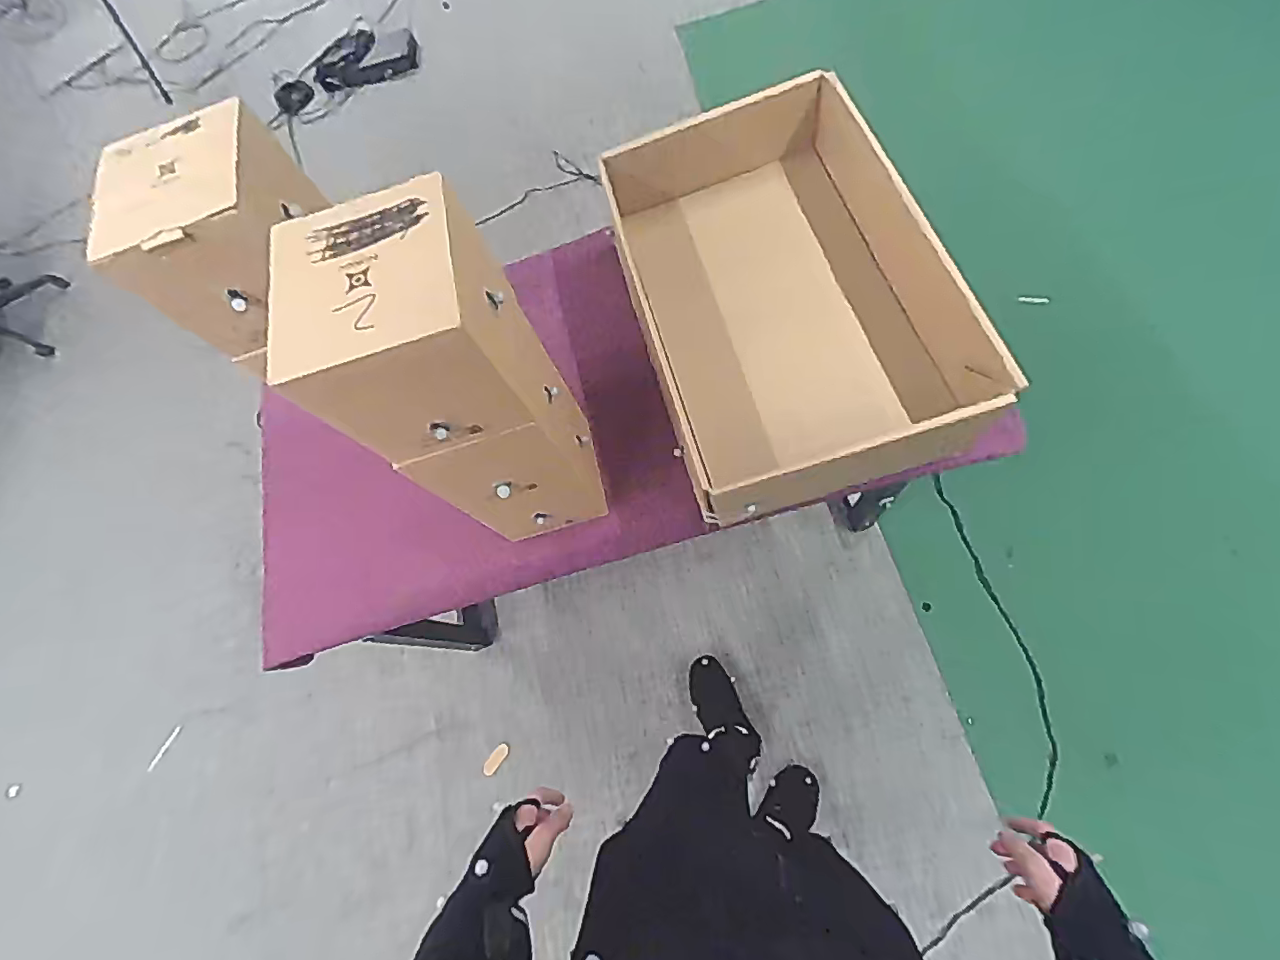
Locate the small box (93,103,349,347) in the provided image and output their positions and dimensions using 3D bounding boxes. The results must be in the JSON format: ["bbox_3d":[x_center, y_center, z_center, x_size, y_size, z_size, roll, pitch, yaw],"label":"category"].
[{"bbox_3d":[-0.465,-0.277,0.627,0.168,0.176,0.179,-17,68,3],"label":"small box"}]

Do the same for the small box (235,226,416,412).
[{"bbox_3d":[-0.436,-0.216,0.777,0.168,0.176,0.179,-17,68,4],"label":"small box"}]

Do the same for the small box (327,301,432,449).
[{"bbox_3d":[-0.409,-0.166,0.928,0.168,0.176,0.179,-17,68,4],"label":"small box"}]

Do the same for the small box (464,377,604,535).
[{"bbox_3d":[-0.162,-0.024,0.826,0.168,0.176,0.179,-16,68,4],"label":"small box"}]

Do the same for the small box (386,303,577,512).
[{"bbox_3d":[-0.190,-0.081,0.675,0.168,0.176,0.179,-16,68,5],"label":"small box"}]
